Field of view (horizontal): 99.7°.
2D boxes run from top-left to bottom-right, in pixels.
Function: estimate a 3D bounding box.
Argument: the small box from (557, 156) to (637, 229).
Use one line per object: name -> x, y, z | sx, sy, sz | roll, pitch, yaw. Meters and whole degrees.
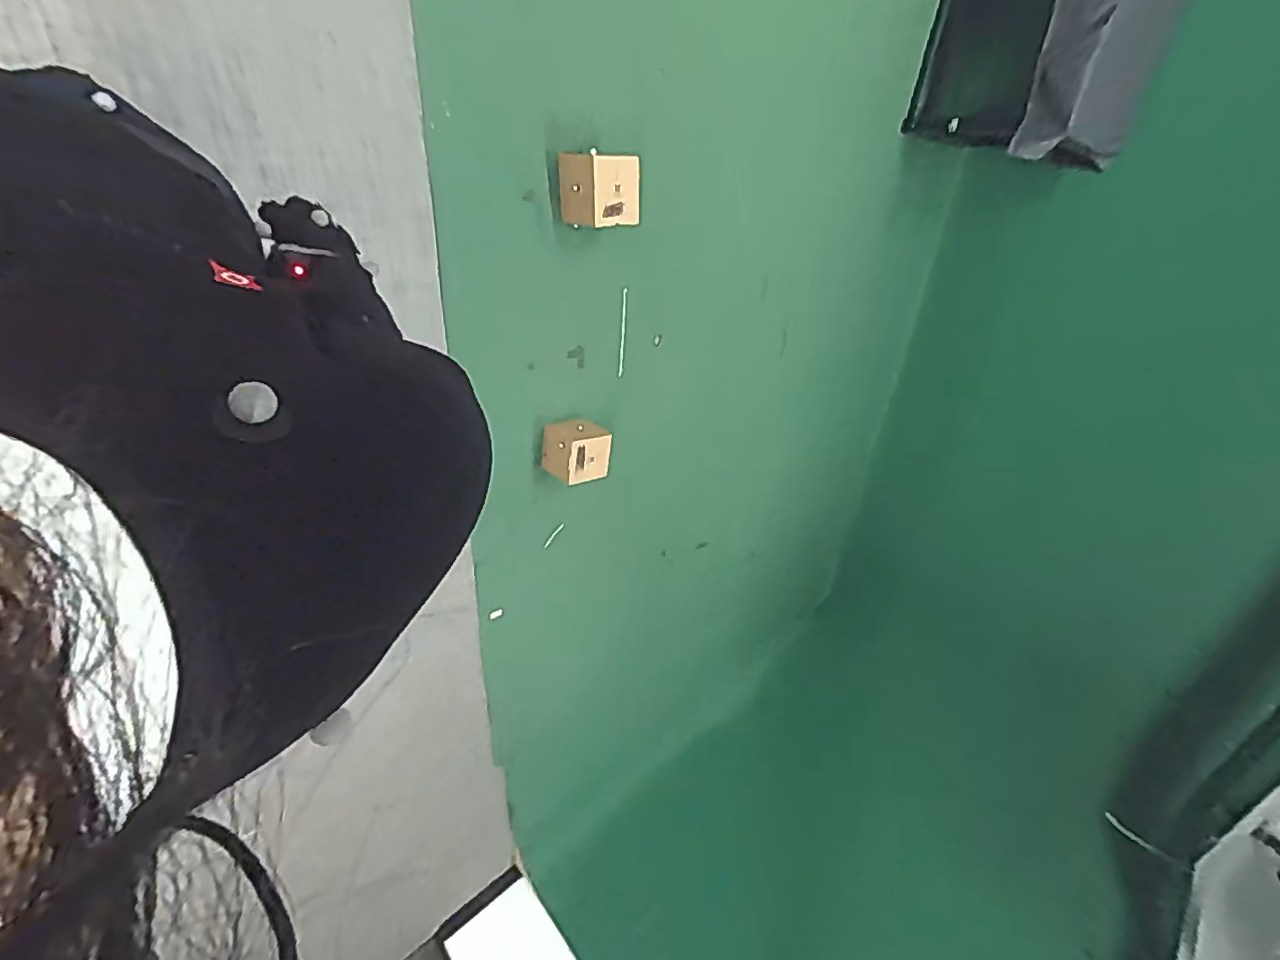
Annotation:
small box -> -0.126, -0.833, 1.564 | 0.168, 0.176, 0.179 | -24, 128, -36
